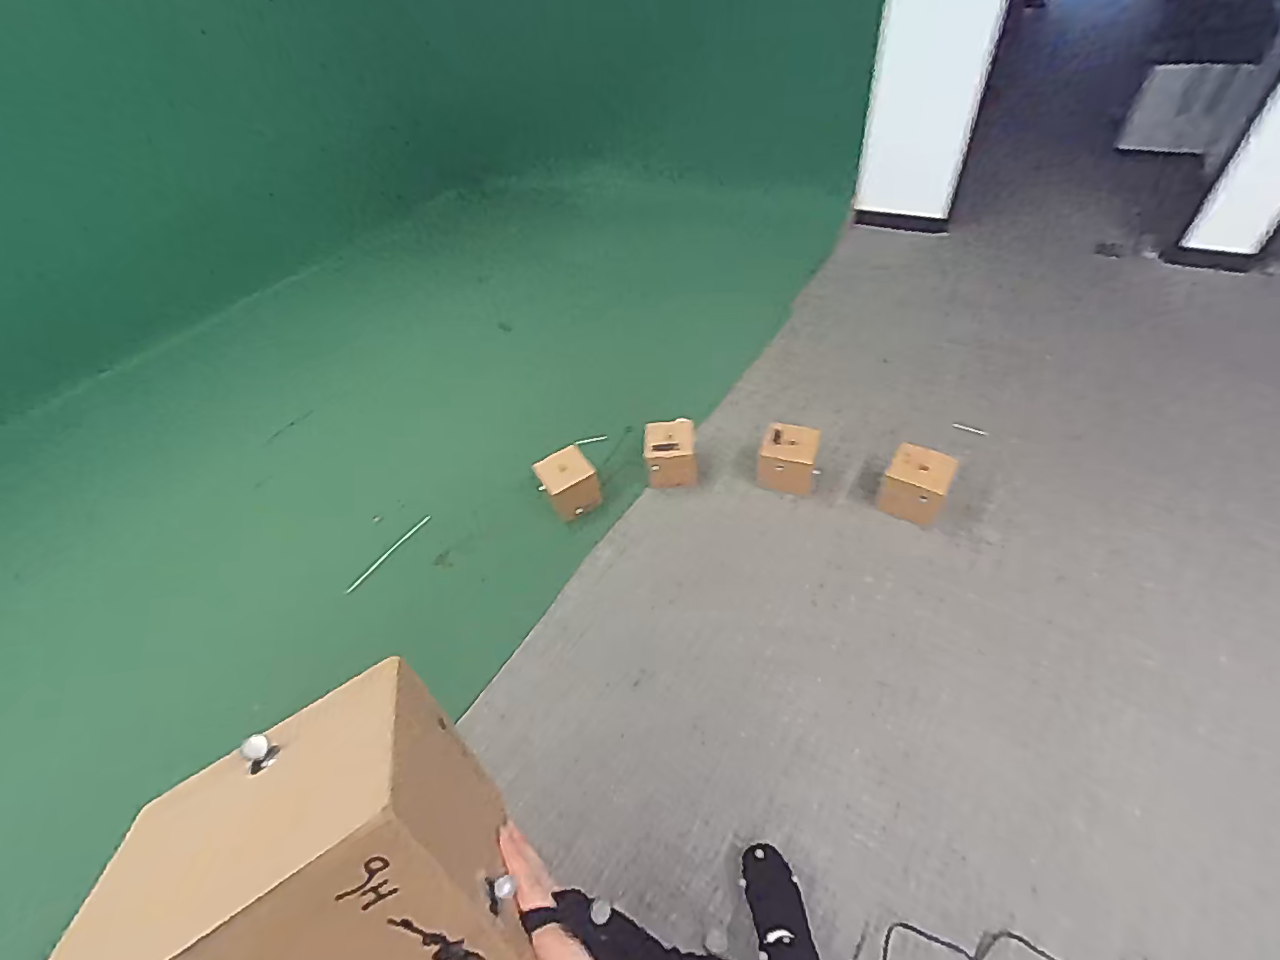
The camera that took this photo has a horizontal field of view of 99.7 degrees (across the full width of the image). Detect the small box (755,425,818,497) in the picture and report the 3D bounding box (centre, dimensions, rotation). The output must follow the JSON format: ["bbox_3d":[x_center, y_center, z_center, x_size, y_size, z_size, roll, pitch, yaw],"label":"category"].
[{"bbox_3d":[0.501,-0.063,1.860,0.179,0.176,0.168,13,52,20],"label":"small box"}]

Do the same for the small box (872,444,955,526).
[{"bbox_3d":[0.864,0.022,1.720,0.179,0.176,0.168,24,56,28],"label":"small box"}]

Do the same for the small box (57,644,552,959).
[{"bbox_3d":[-0.177,0.239,0.336,0.179,0.168,0.176,-29,19,-15],"label":"small box"}]

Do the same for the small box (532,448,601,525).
[{"bbox_3d":[-0.258,0.025,1.921,0.168,0.176,0.179,-29,50,-15],"label":"small box"}]
